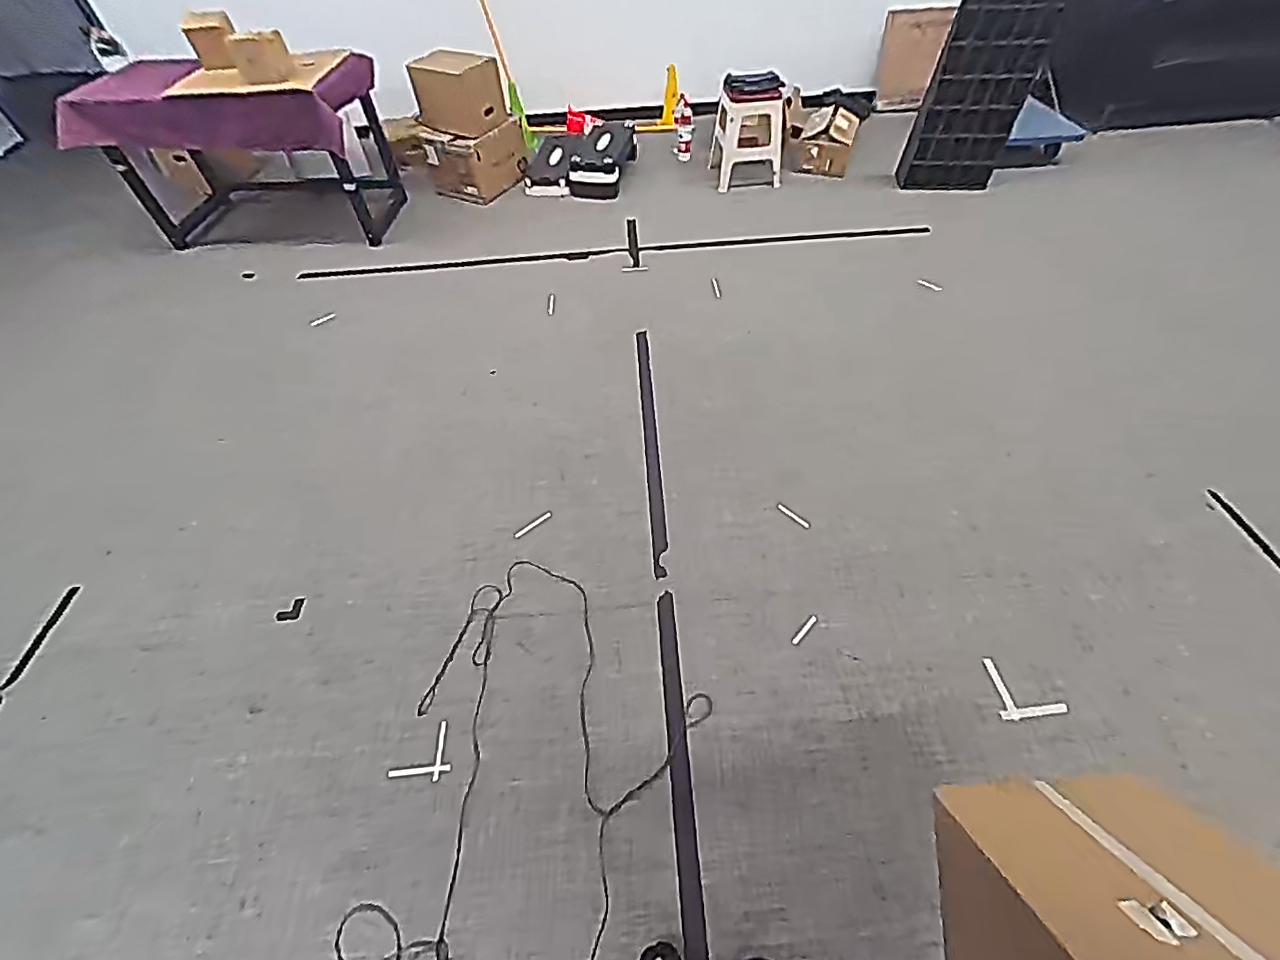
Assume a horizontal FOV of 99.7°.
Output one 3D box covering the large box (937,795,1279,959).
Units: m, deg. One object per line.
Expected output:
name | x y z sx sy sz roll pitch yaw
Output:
large box | 0.604 0.634 0.627 0.320 0.408 0.320 -4 90 3
